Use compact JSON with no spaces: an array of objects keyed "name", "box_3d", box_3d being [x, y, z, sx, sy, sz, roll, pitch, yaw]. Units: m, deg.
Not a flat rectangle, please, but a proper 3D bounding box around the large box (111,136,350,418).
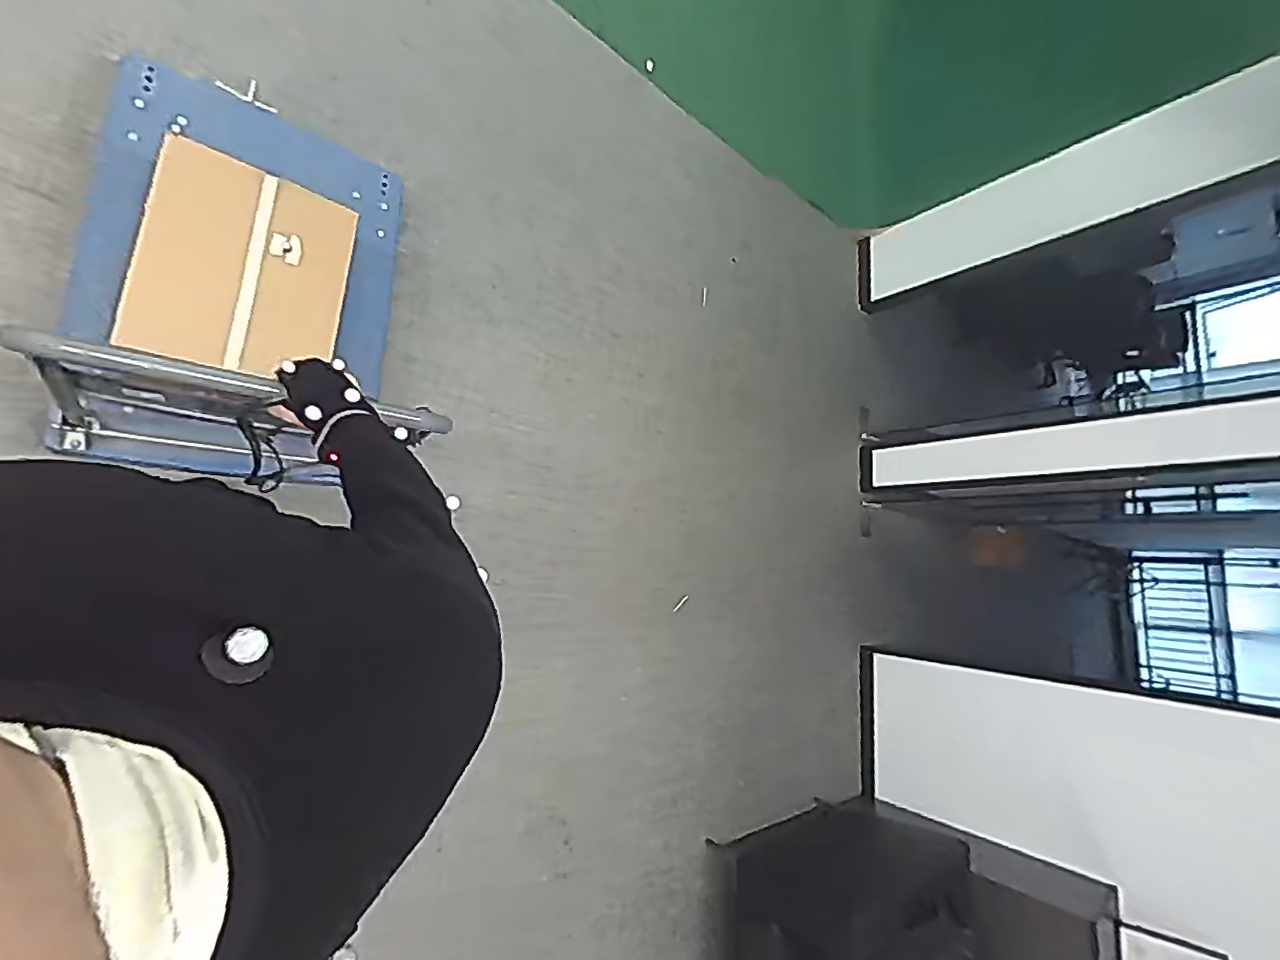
[{"name":"large box","box_3d":[-0.832,-0.374,1.122,0.320,0.320,0.408,12,77,-39]}]
